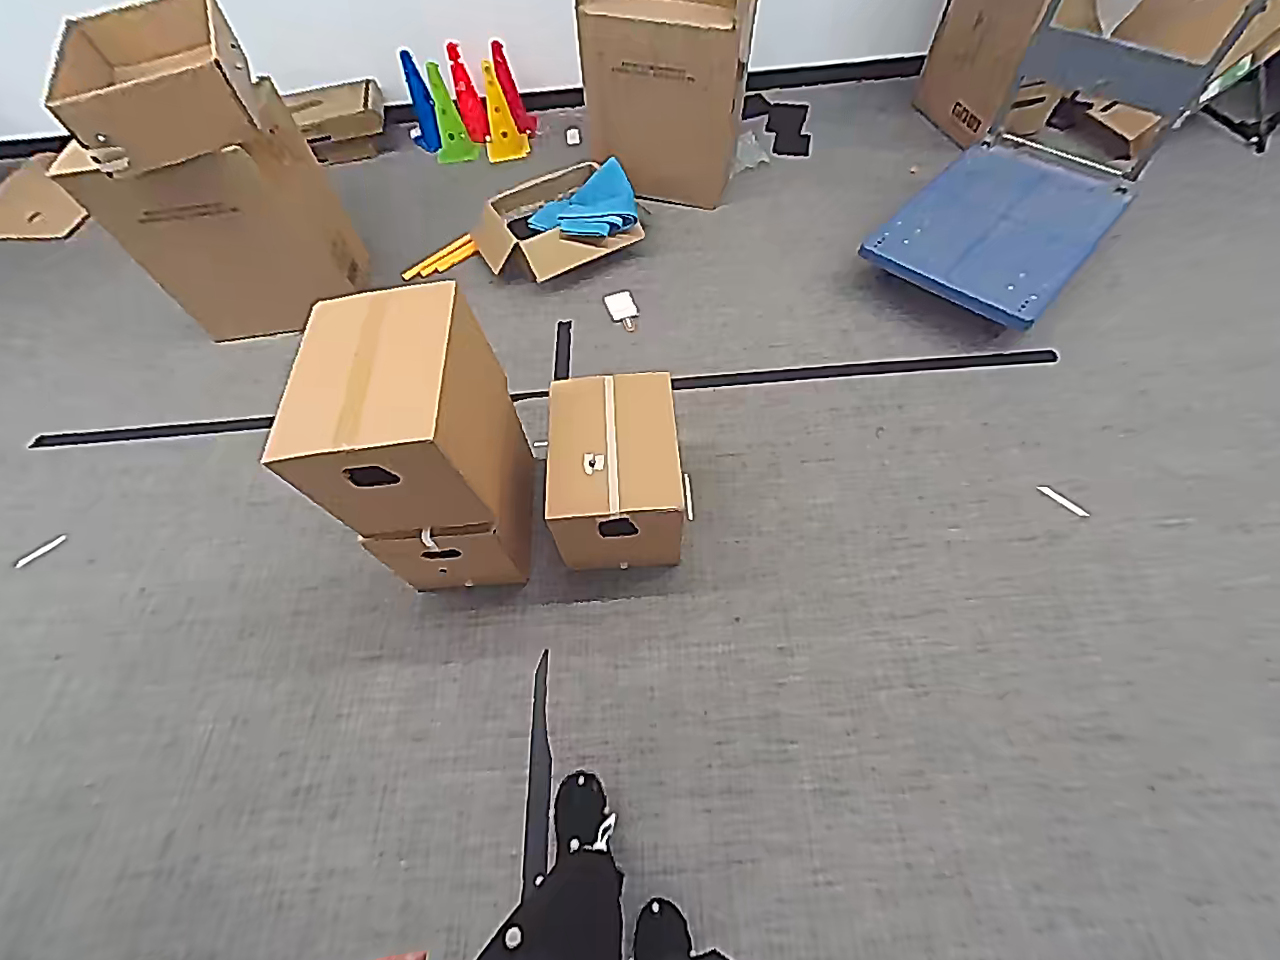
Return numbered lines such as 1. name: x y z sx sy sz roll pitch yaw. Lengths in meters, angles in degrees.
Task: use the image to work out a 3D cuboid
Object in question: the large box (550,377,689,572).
1. large box: -0.054 -0.009 1.417 0.320 0.320 0.408 -6 59 1
